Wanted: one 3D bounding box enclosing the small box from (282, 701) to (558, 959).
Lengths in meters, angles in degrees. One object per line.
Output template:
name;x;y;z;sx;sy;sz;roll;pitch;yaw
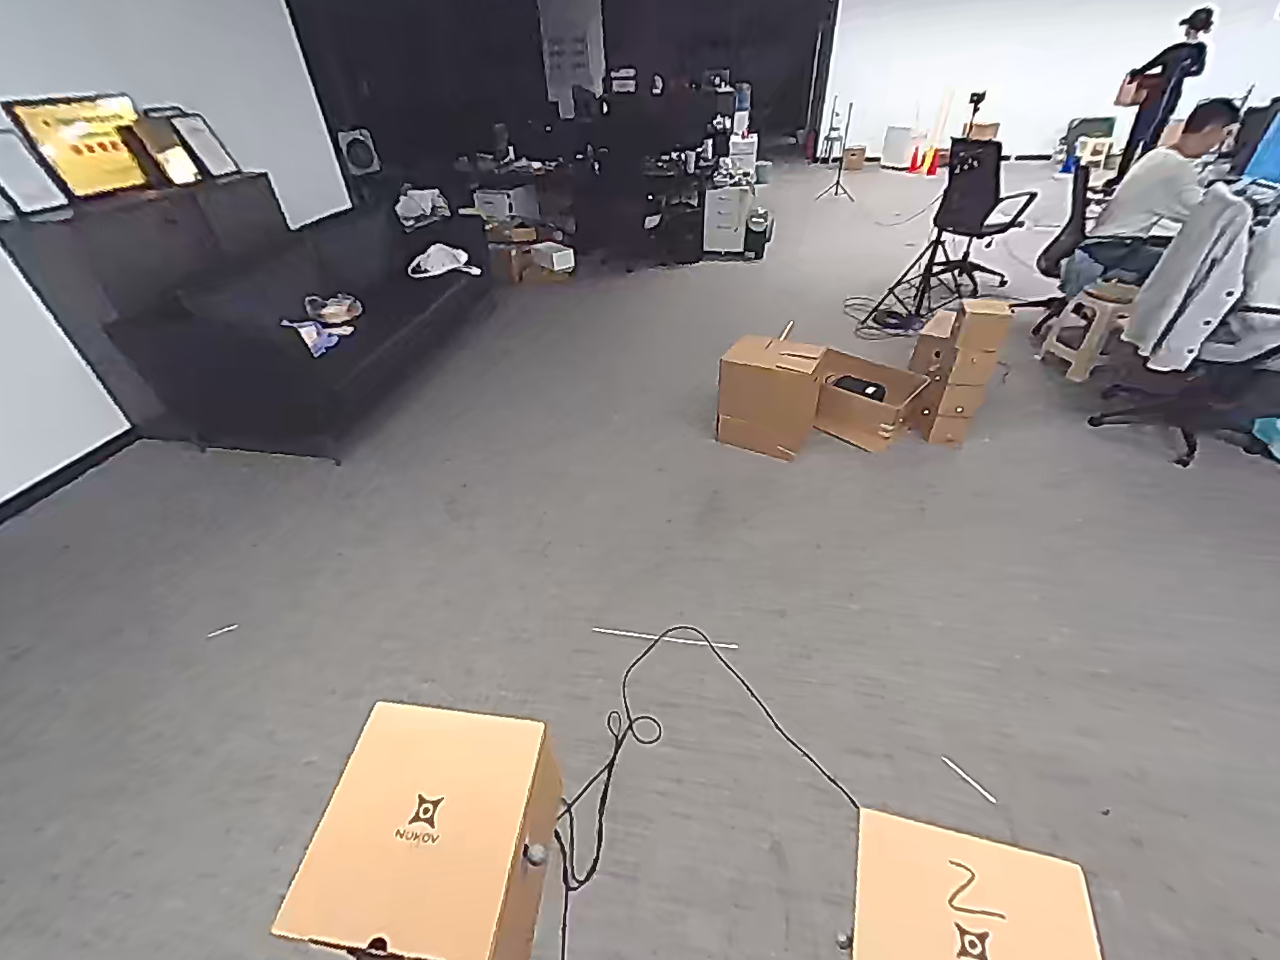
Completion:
small box;-0.179;0.338;0.512;0.168;0.176;0.179;5;46;5
